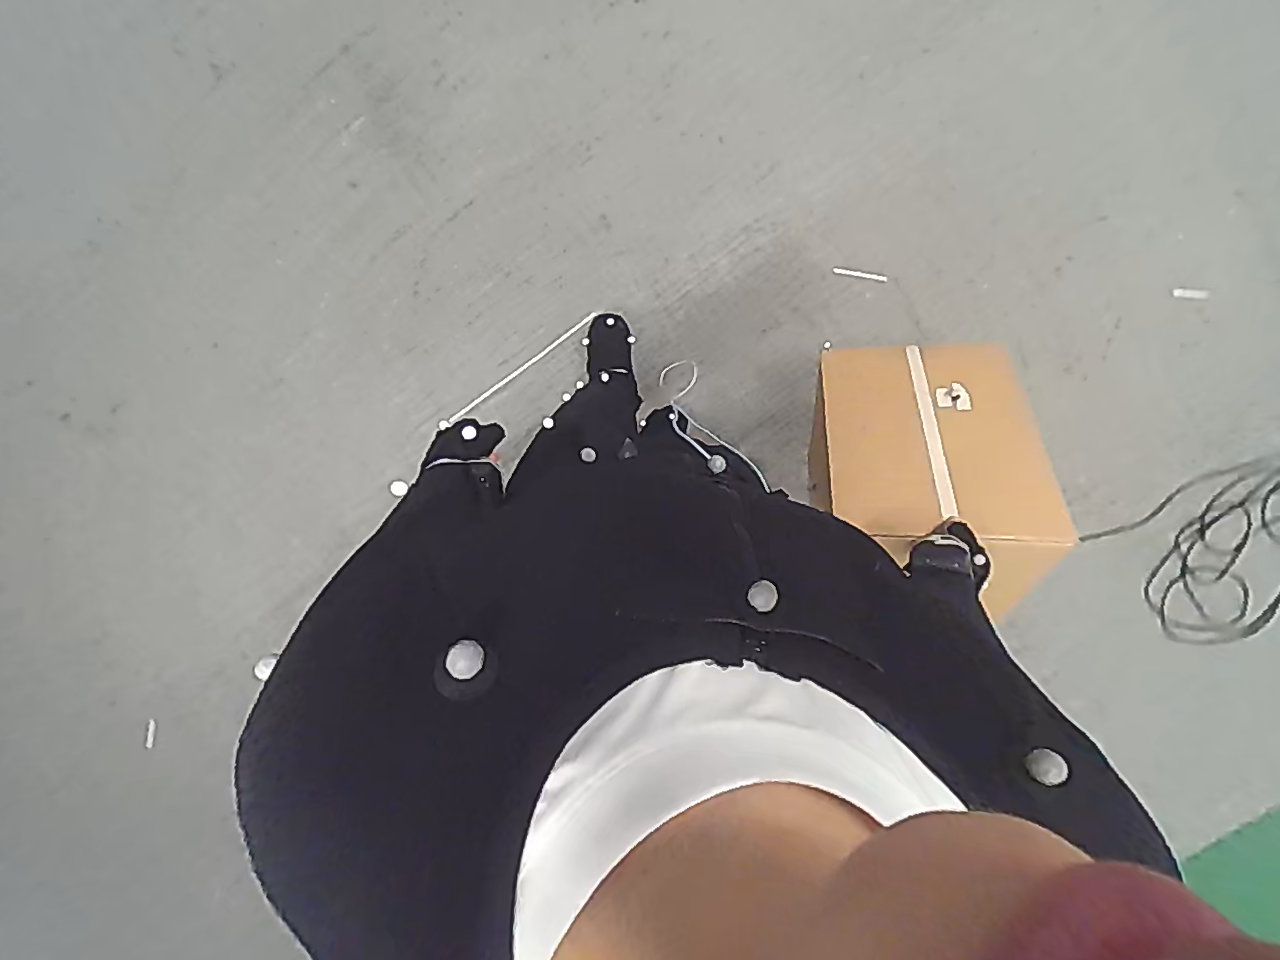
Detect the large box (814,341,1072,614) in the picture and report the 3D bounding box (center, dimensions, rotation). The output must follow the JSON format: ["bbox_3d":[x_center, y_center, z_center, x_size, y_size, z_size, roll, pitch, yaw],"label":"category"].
[{"bbox_3d":[0.498,0.003,0.999,0.320,0.408,0.320,0,144,13],"label":"large box"}]
